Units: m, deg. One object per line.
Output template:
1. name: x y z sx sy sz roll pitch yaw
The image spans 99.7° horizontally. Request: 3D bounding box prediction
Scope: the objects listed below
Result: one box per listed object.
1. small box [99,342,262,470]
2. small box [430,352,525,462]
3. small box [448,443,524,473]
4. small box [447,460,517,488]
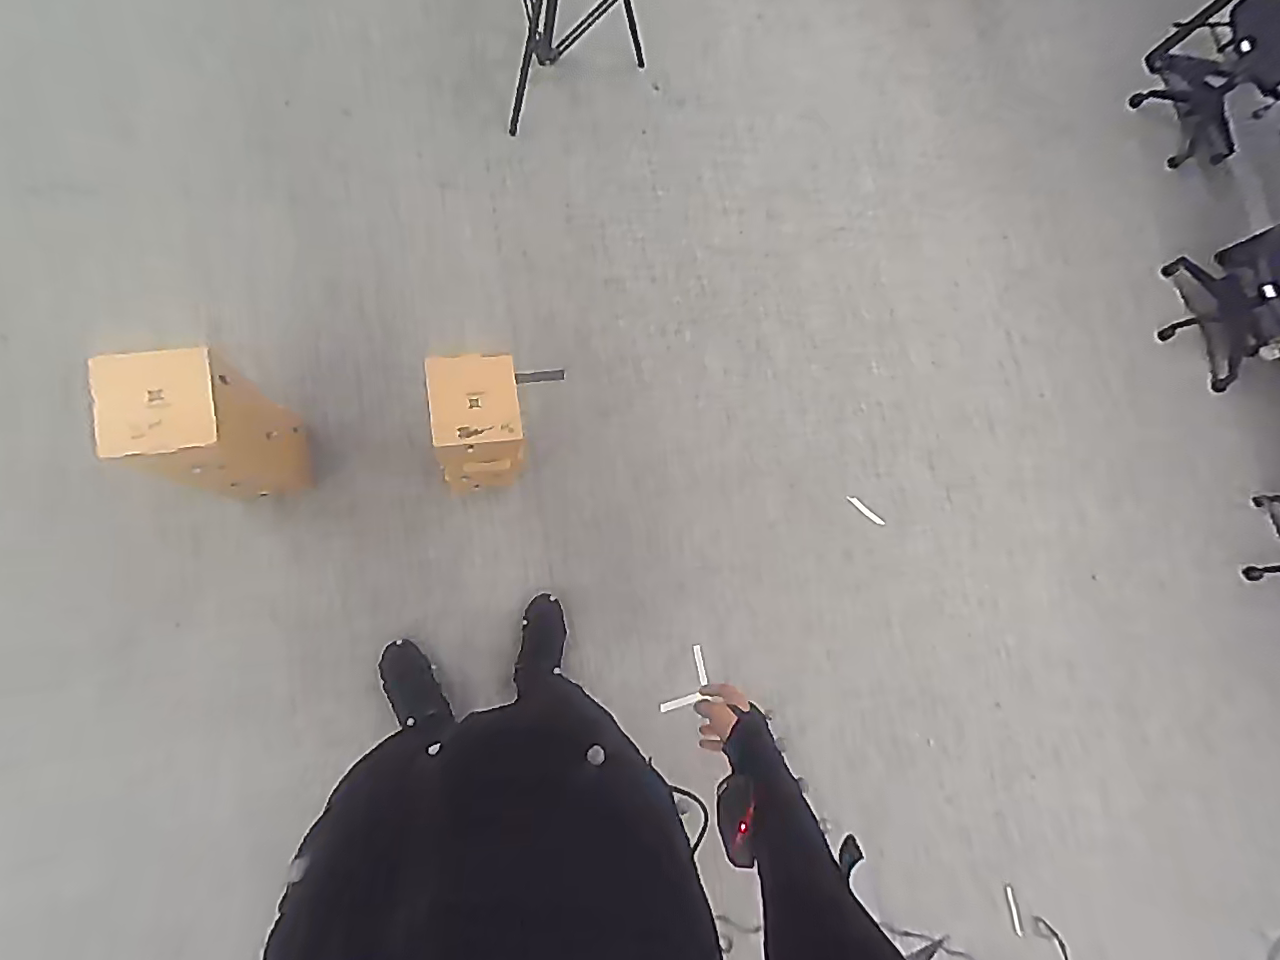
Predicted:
1. small box: -0.806 -0.127 0.964 0.168 0.176 0.179 -9 83 -17
2. small box: -0.334 -0.146 1.108 0.168 0.176 0.179 -6 80 -18
3. small box: -0.367 -0.115 1.268 0.168 0.176 0.179 -6 81 -18
4. small box: -0.420 -0.083 1.419 0.168 0.176 0.179 -5 81 -18
